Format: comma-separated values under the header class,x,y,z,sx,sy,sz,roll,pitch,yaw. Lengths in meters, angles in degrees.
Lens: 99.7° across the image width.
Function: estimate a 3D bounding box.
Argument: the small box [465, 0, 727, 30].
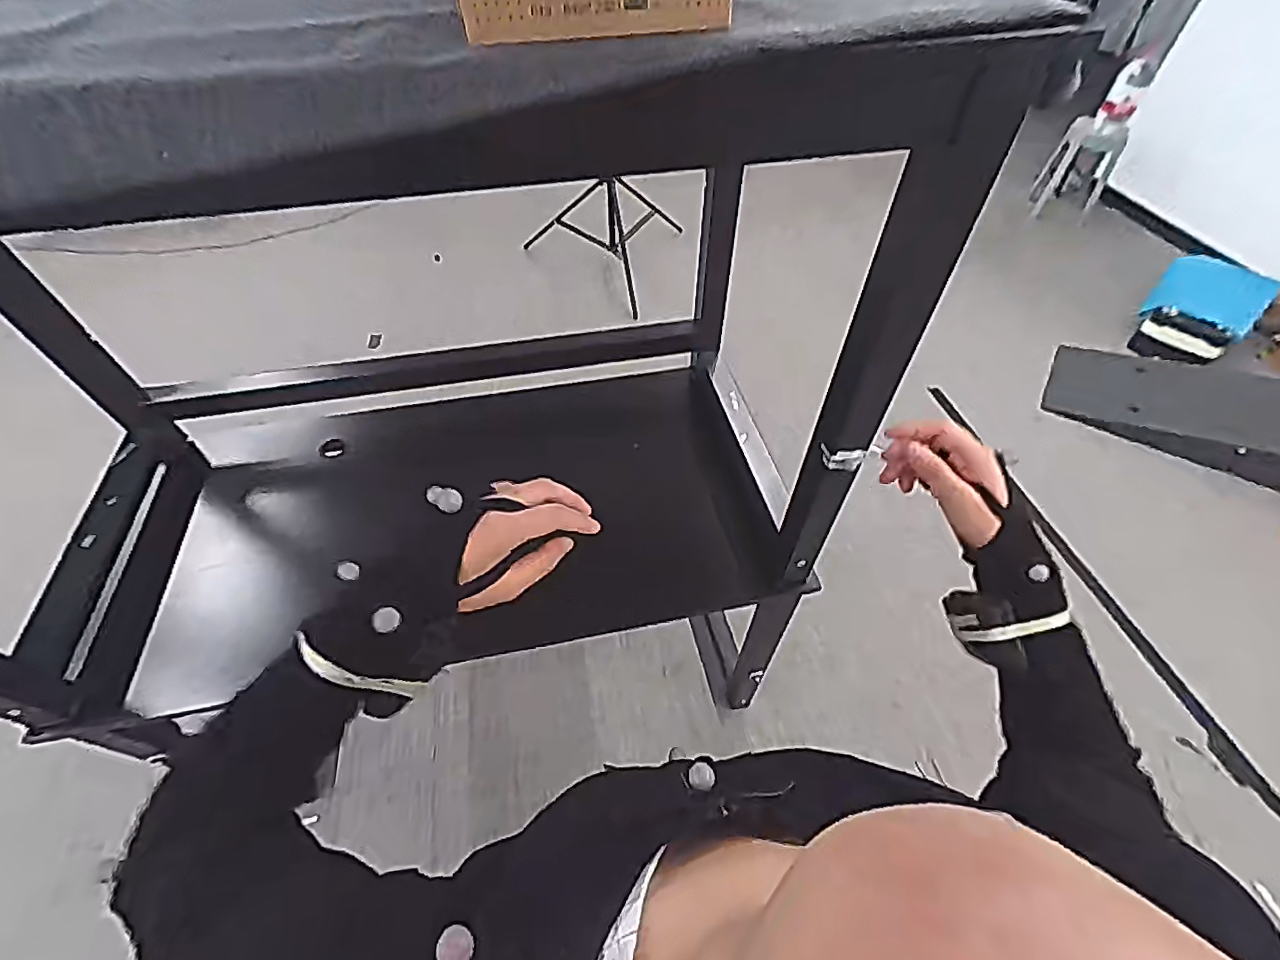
class,x,y,z,sx,sy,sz,roll,pitch,yaw
small box,-0.039,-0.392,0.322,0.168,0.176,0.179,-9,51,-5
